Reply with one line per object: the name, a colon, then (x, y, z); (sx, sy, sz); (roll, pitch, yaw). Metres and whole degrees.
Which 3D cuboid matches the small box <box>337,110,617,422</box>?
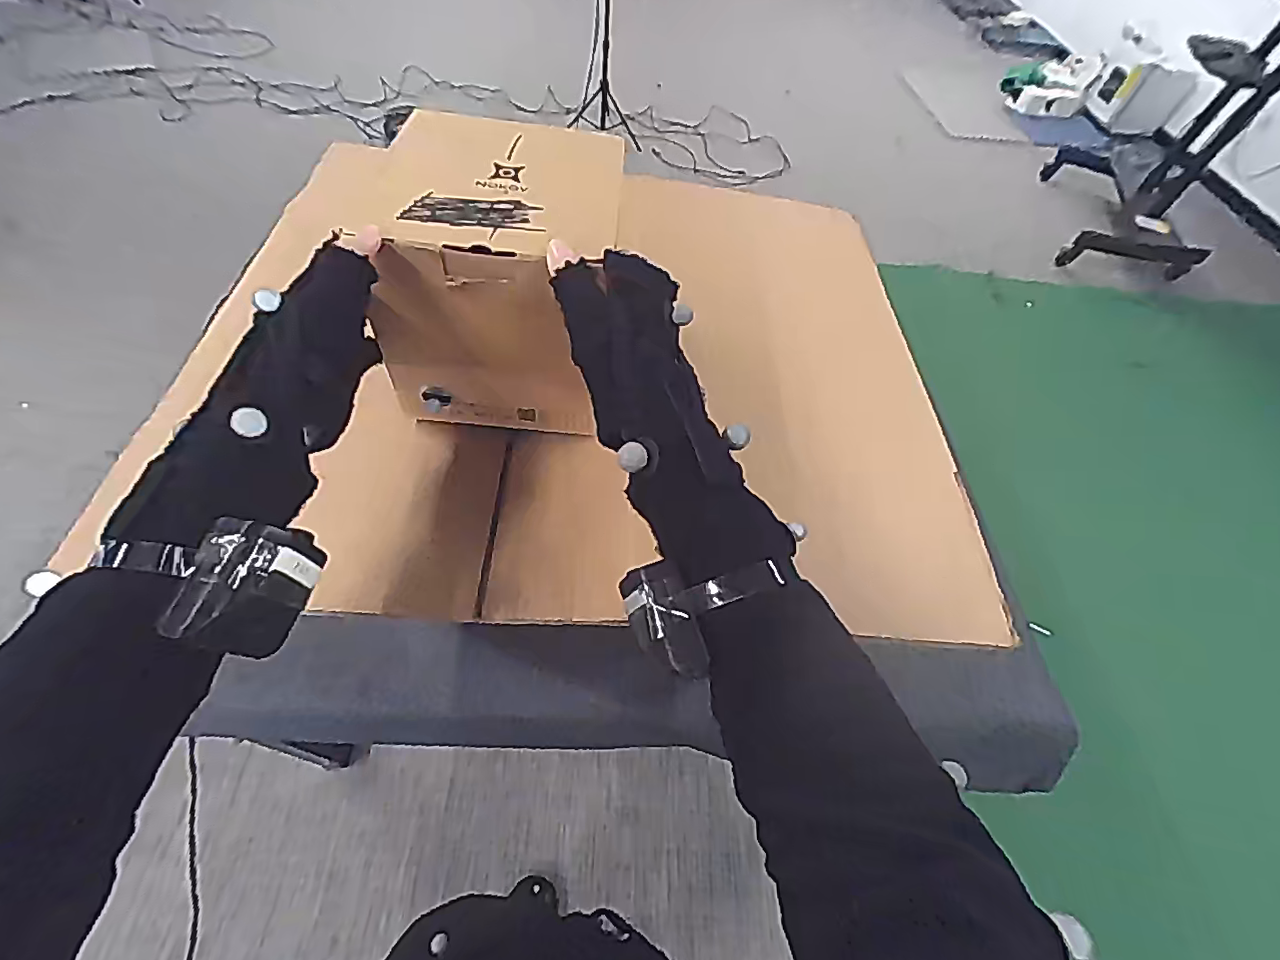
small box: (-0.109, -0.167, 0.445); (0.168, 0.176, 0.179); (5, 55, -4)
